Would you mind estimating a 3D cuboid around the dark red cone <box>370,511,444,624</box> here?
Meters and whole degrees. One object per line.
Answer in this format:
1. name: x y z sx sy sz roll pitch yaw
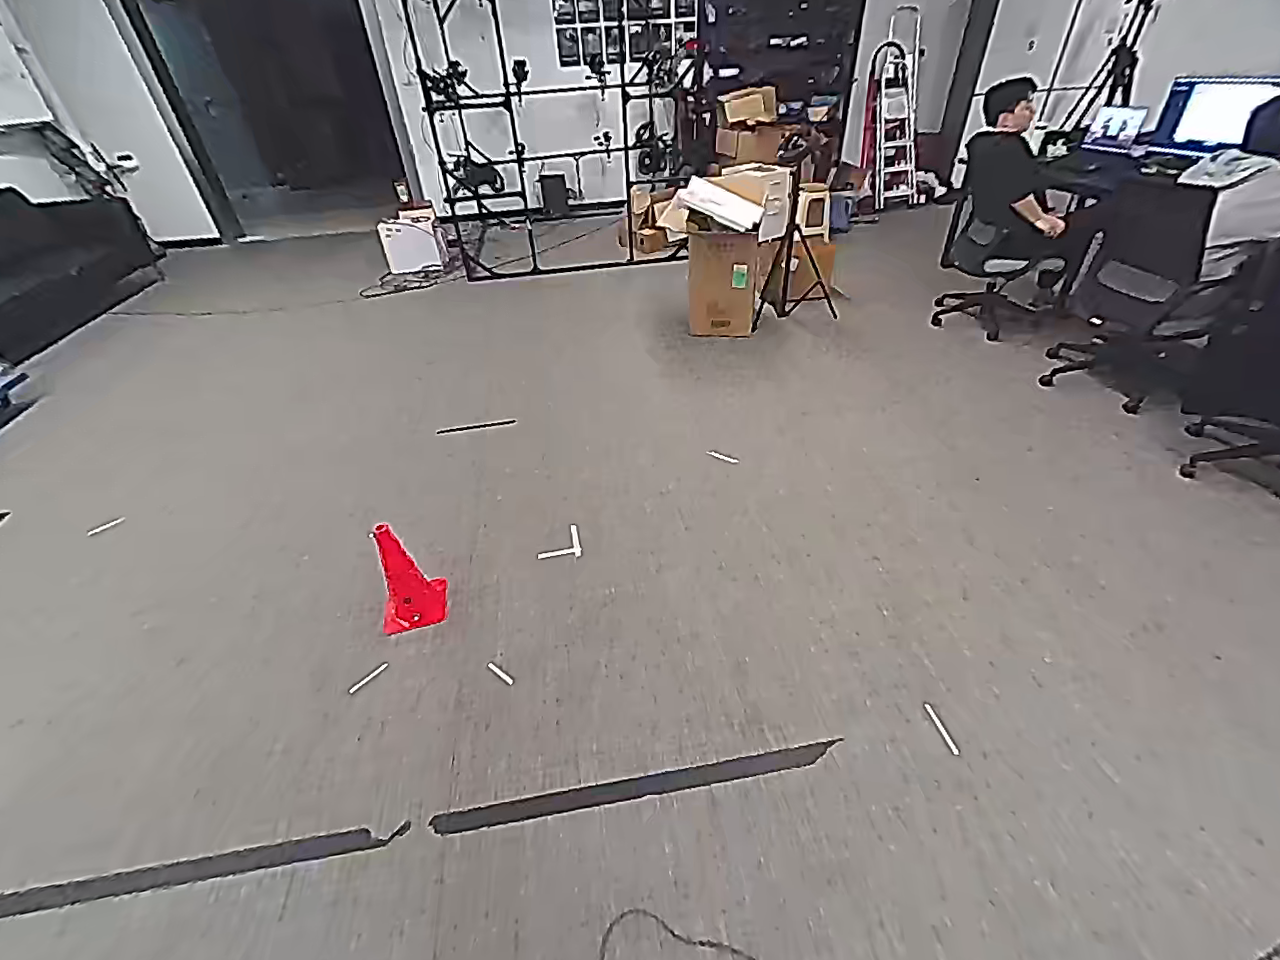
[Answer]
1. dark red cone: -0.758 0.254 1.684 0.202 0.394 0.201 -13 40 -12
